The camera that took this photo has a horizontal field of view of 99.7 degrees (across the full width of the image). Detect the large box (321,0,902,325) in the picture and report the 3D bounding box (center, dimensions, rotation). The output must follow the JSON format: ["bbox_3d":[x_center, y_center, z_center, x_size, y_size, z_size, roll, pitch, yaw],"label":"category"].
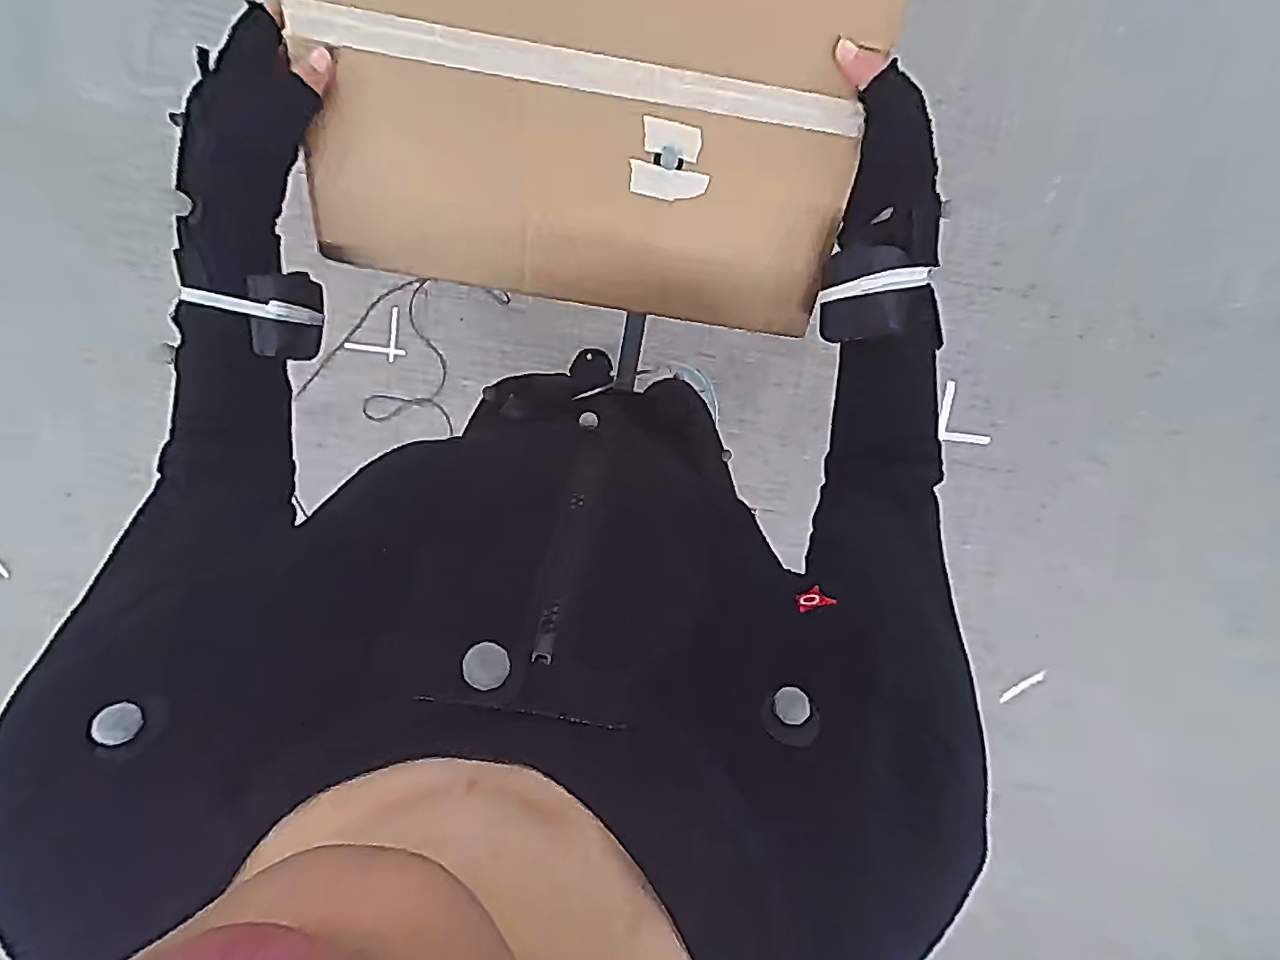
[{"bbox_3d":[-0.026,-0.368,0.519,0.408,0.320,0.320,9,122,-3],"label":"large box"}]
